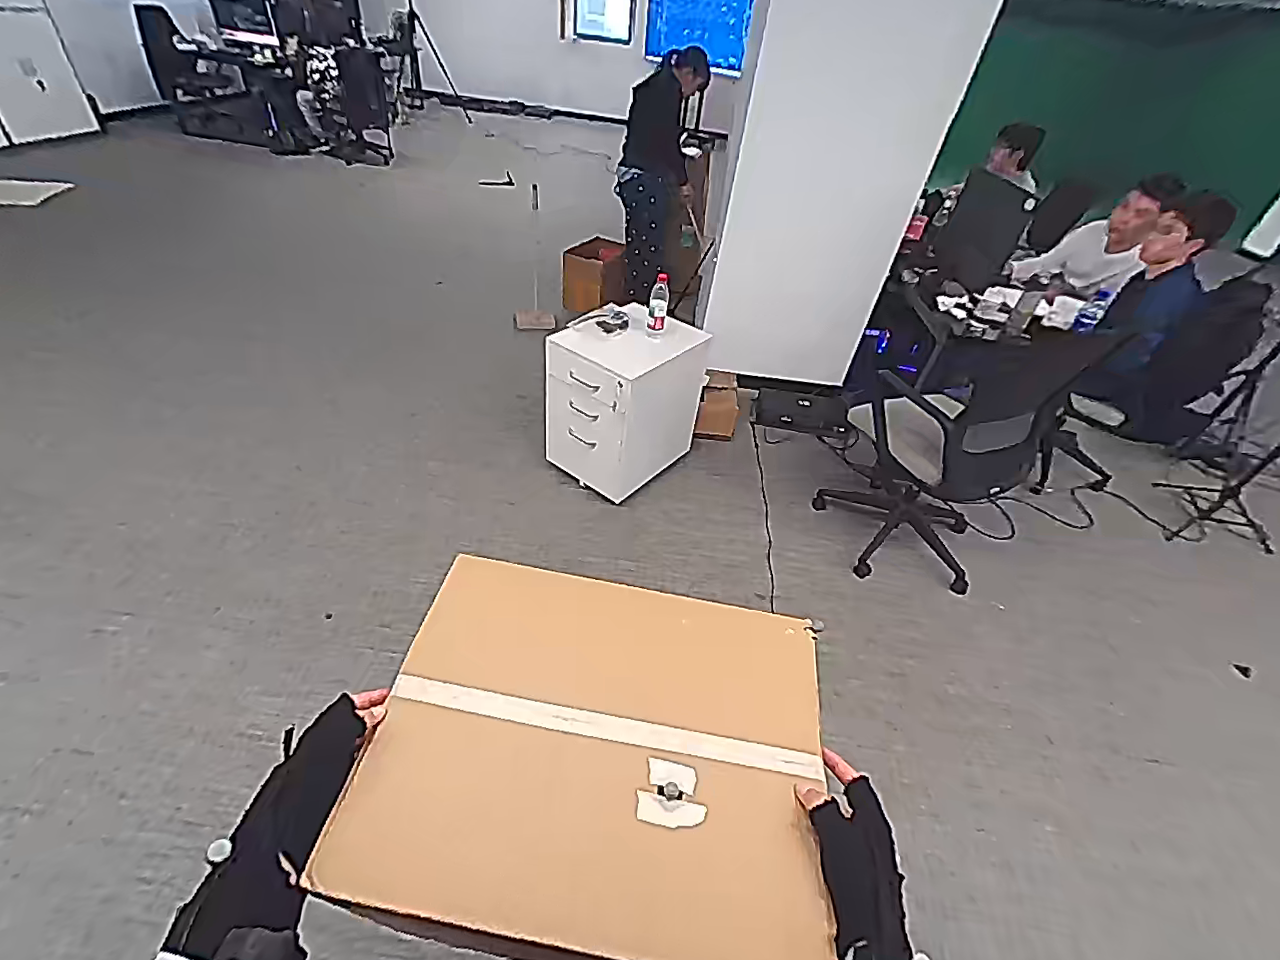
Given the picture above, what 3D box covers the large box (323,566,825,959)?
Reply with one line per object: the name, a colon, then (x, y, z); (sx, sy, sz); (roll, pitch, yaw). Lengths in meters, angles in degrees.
large box: (-0.049, 0.341, 0.623); (0.408, 0.320, 0.320); (11, 46, 2)
